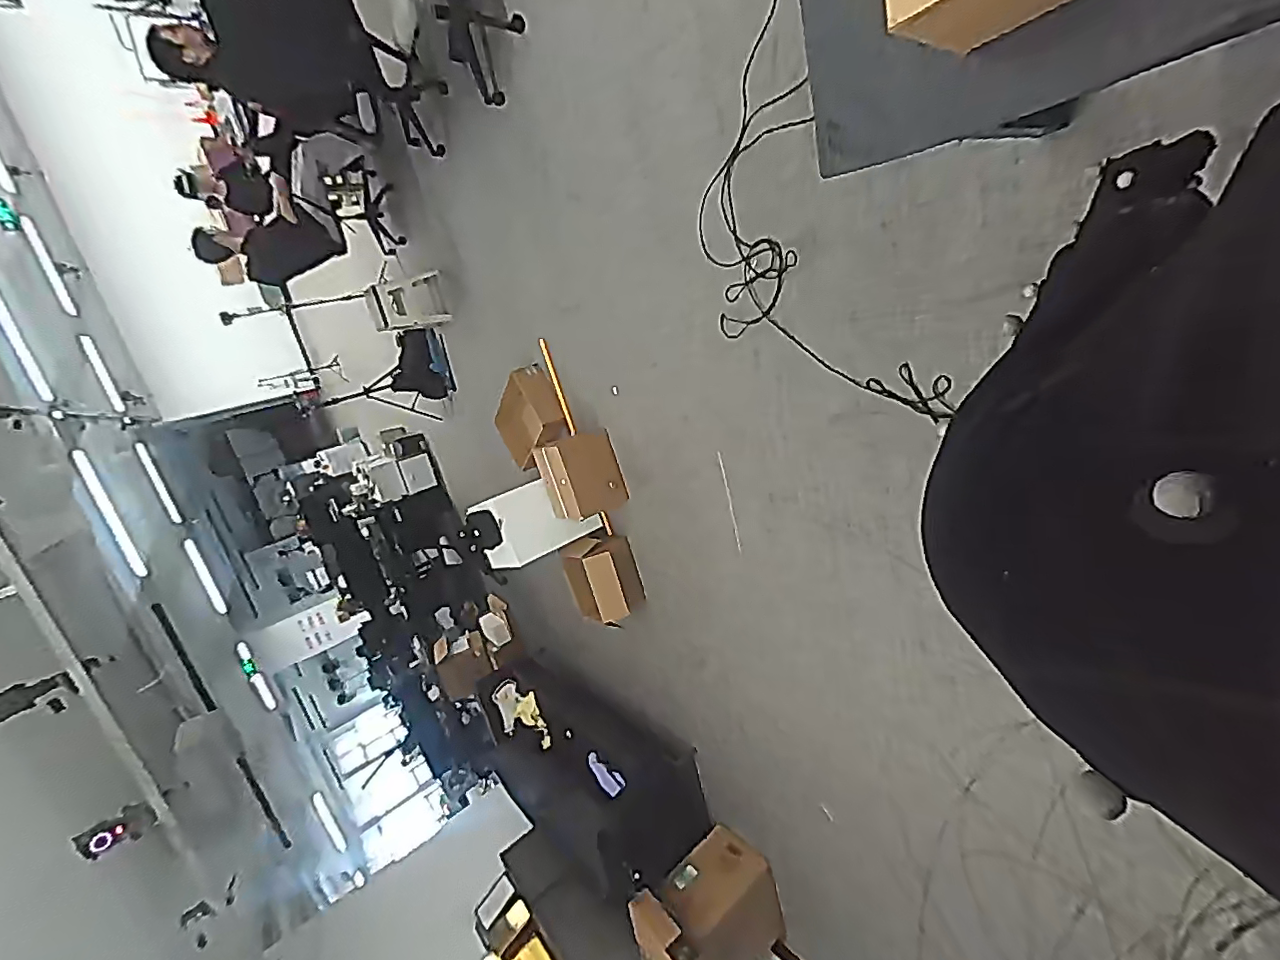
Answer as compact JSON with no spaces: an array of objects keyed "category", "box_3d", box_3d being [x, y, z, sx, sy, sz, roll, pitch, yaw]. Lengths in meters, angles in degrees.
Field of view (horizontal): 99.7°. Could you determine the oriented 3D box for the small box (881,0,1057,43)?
[{"category":"small box","box_3d":[0.326,-0.519,0.464,0.179,0.176,0.168,8,115,52]}]
